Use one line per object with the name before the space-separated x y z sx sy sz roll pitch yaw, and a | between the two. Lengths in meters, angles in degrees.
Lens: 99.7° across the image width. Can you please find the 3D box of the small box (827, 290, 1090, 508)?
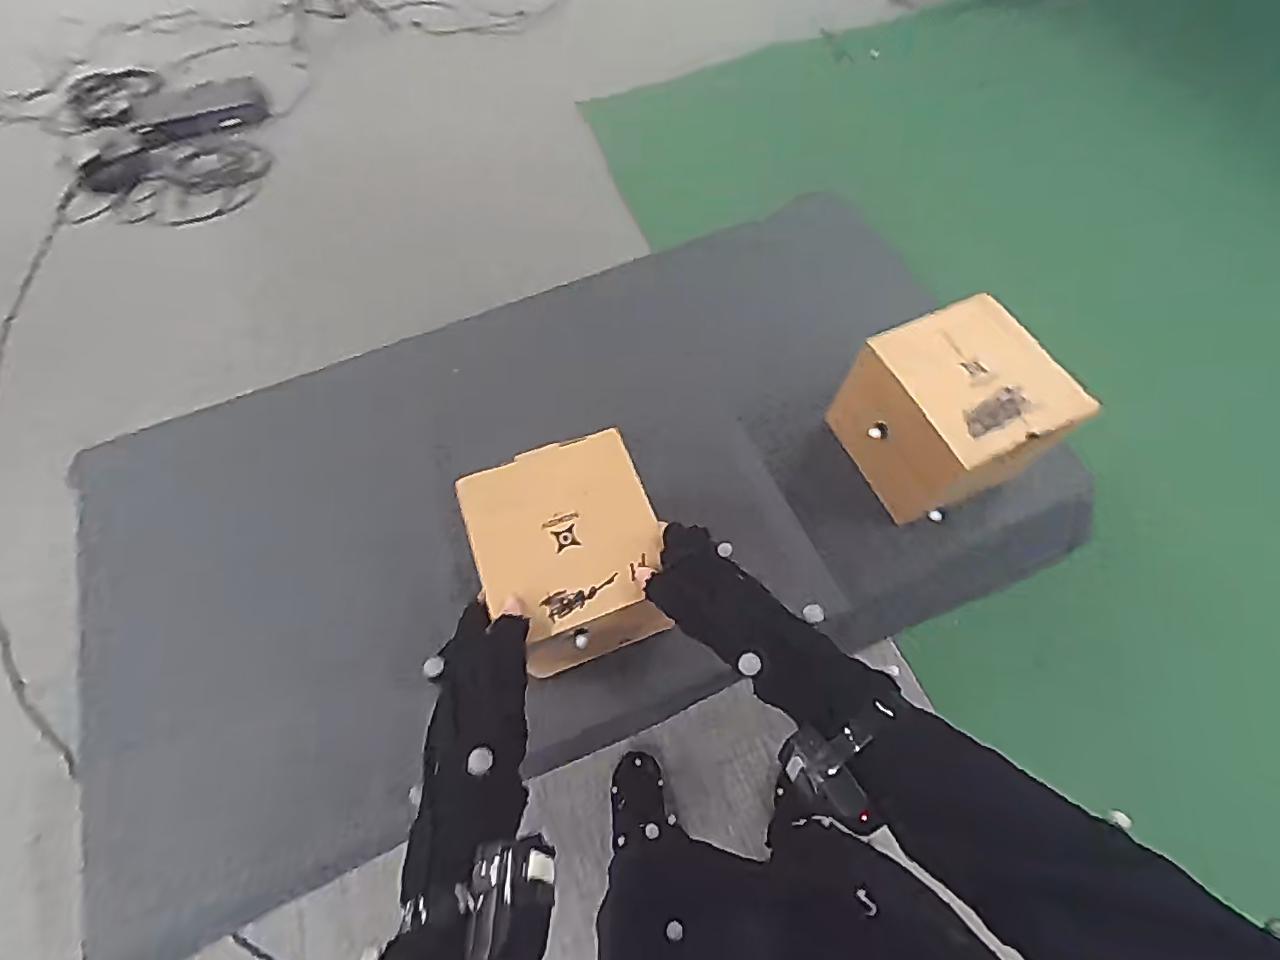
small box | 0.355 -0.083 0.644 0.168 0.176 0.179 -22 66 -8

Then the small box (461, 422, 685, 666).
small box | -0.065 0.074 0.559 0.168 0.176 0.179 -19 66 -8
